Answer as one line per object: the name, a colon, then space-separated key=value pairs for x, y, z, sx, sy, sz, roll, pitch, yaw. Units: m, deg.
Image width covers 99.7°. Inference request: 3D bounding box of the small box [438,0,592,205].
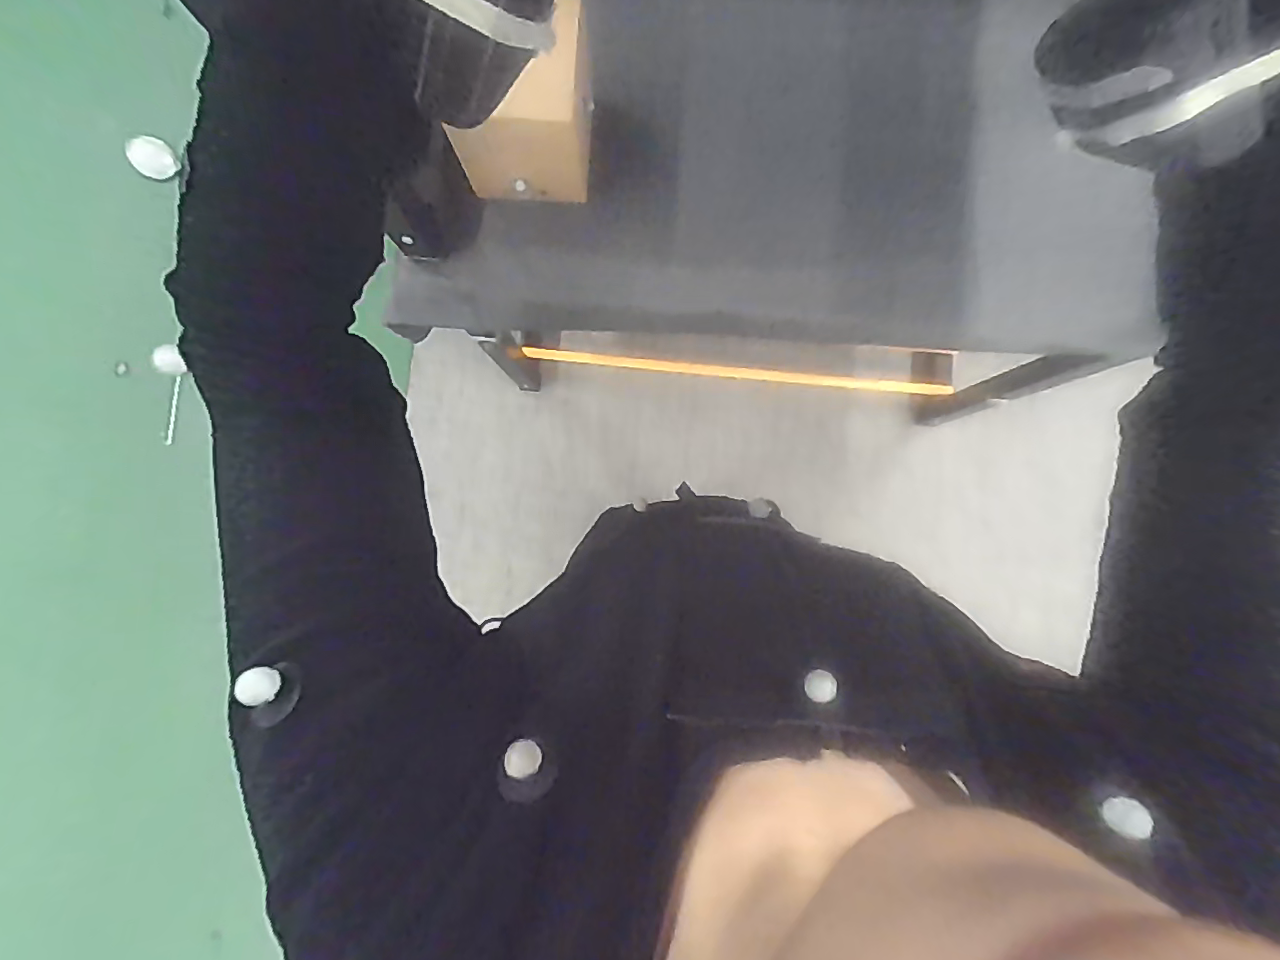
small box: x=-0.156 y=-0.508 z=0.734 sx=0.168 sy=0.176 sz=0.179 roll=3 pitch=85 yaw=1
